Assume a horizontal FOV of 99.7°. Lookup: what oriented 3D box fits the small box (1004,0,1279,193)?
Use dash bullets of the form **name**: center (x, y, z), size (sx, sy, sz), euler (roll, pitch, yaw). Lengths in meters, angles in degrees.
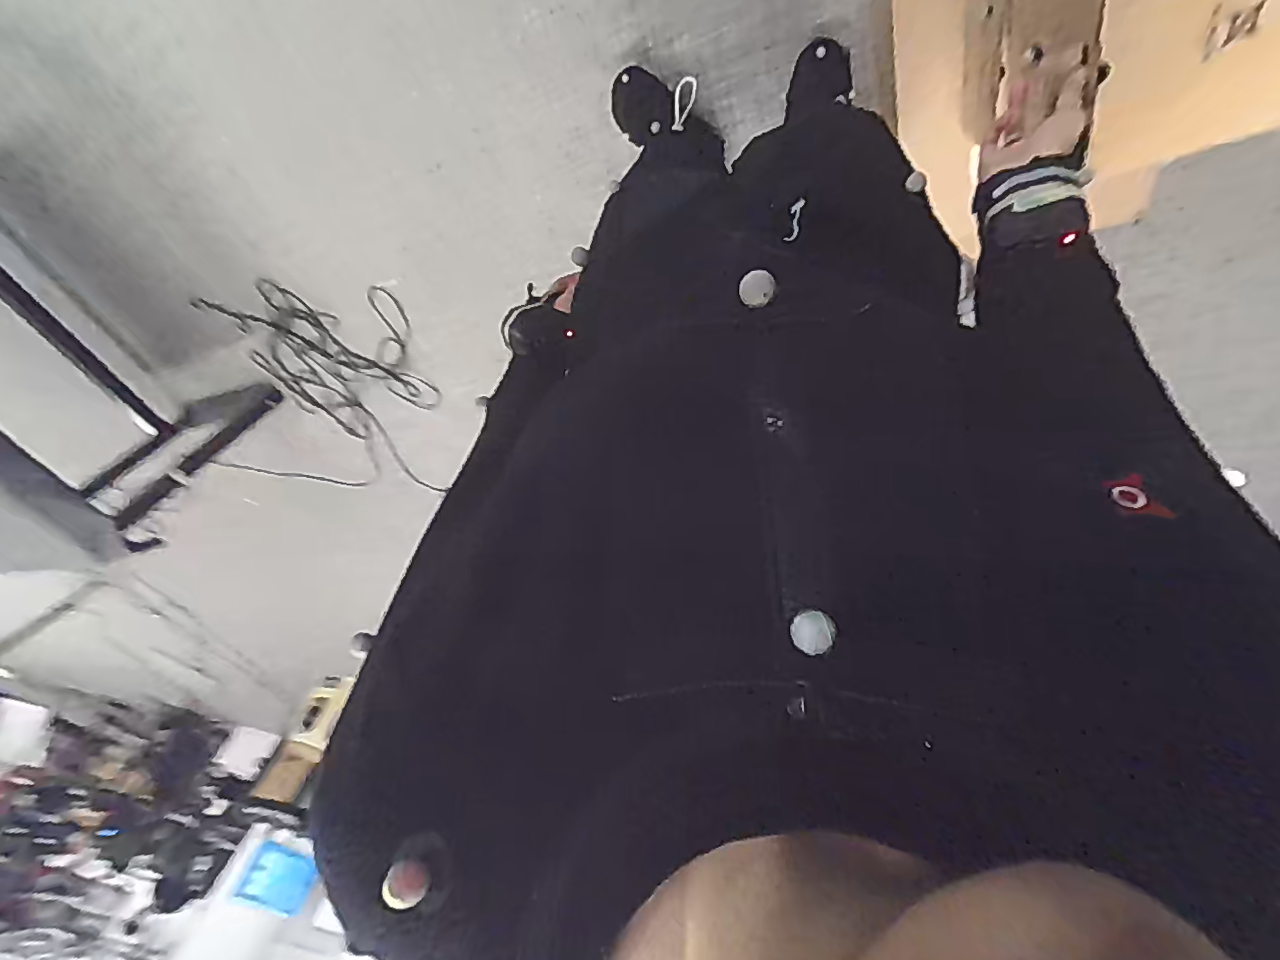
- **small box**: center (0.447, -0.379, 0.465), size (0.179, 0.176, 0.168), euler (-10, 127, 20)
